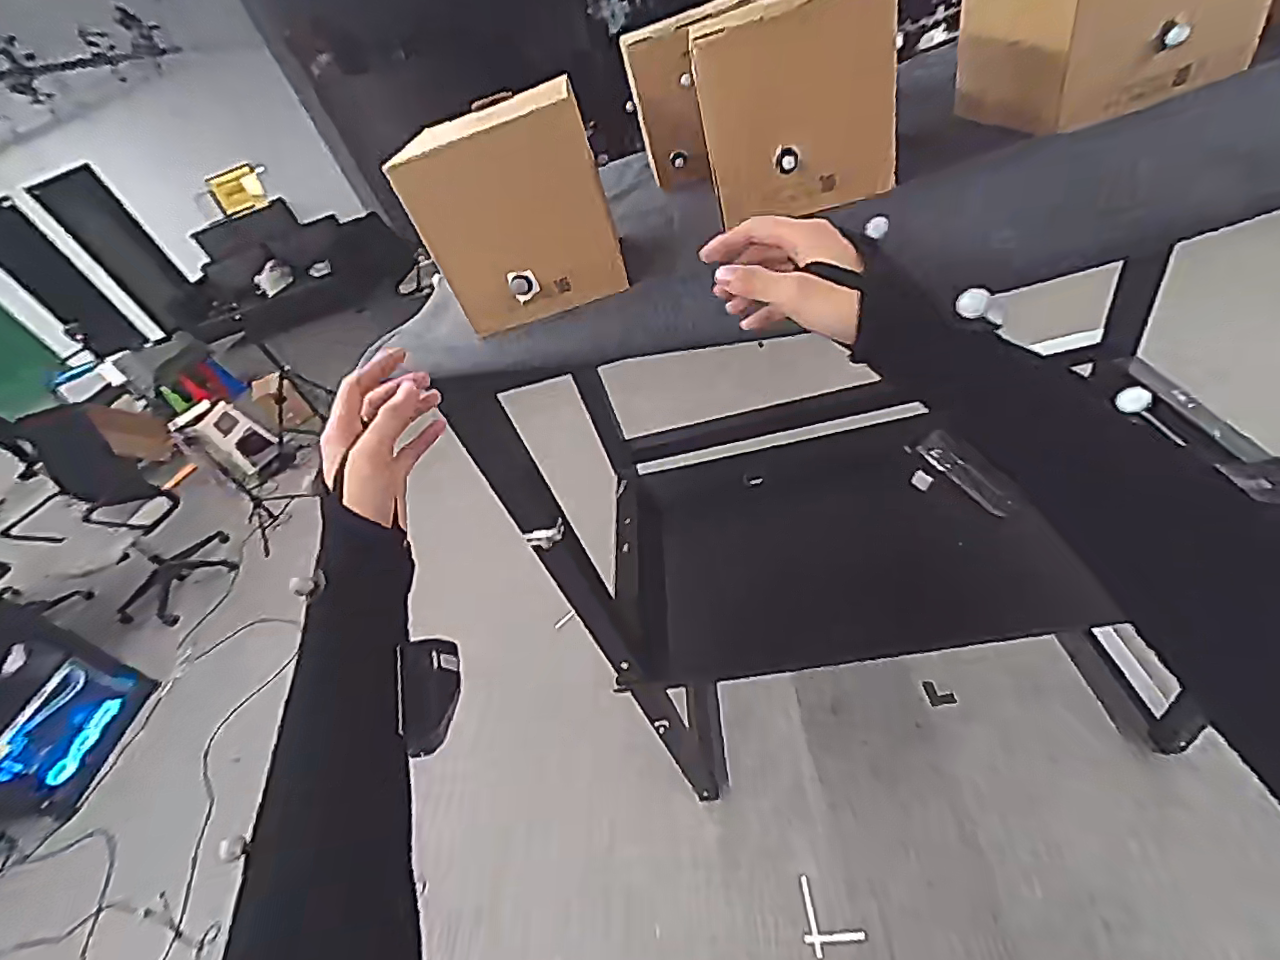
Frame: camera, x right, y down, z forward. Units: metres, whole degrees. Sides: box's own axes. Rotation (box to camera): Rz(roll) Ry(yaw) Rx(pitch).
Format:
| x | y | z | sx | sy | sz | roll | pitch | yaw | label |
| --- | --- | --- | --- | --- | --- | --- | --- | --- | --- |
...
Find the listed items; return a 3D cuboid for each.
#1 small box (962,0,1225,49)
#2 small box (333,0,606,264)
| x | y | z | sx | sy | sz | roll | pitch | yaw | label |
| --- | --- | --- | --- | --- | --- | --- | --- | --- | --- |
| 0.405 | -0.497 | 0.462 | 0.168 | 0.176 | 0.179 | -17 | 41 | 6 | small box |
| -0.138 | -0.329 | 0.507 | 0.168 | 0.176 | 0.179 | -17 | 41 | 6 | small box |
